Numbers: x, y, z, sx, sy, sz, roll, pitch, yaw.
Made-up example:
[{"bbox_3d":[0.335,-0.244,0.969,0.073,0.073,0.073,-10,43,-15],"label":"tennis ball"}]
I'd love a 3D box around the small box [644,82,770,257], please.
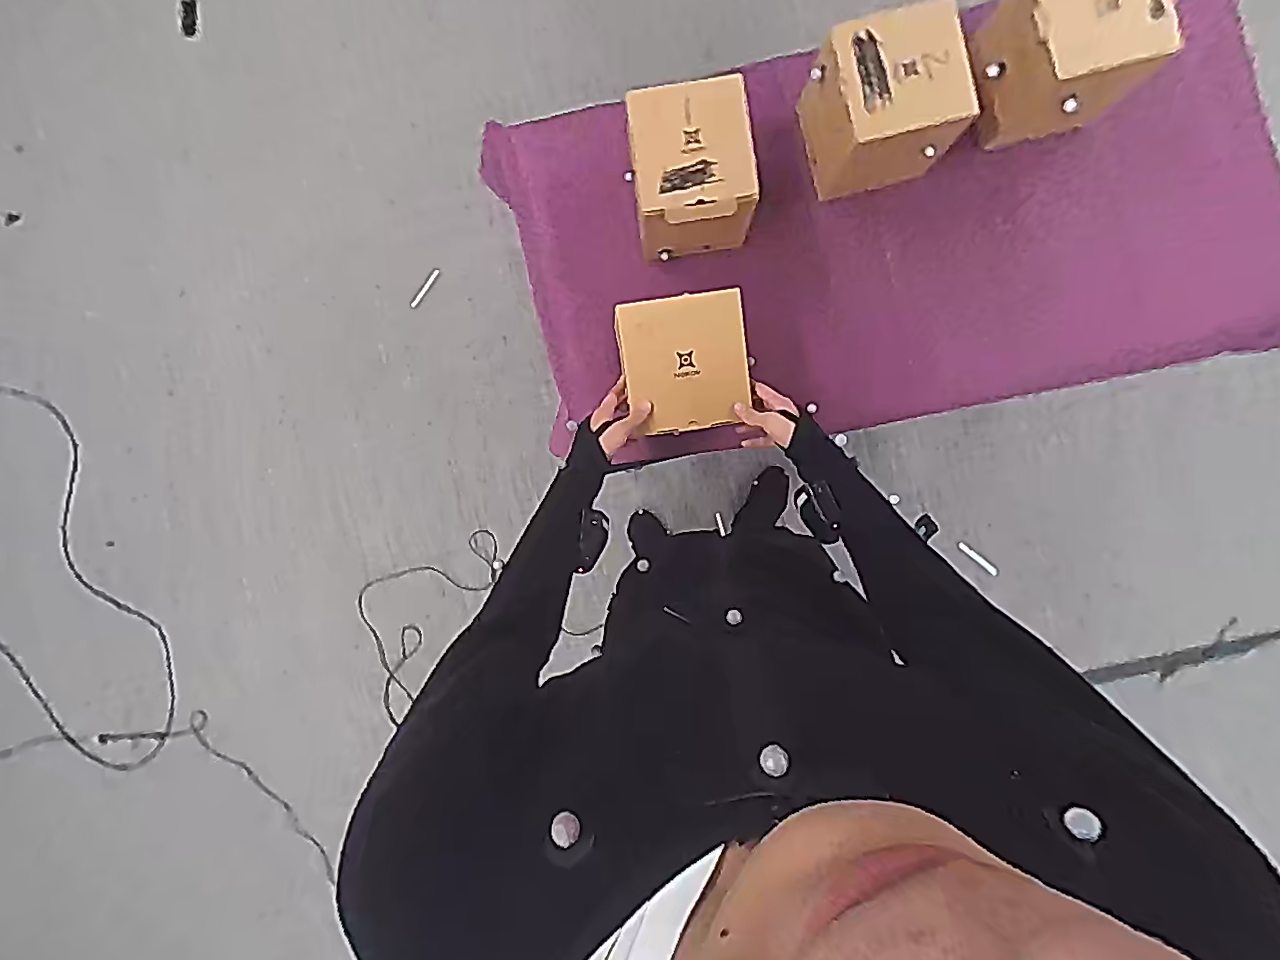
[{"bbox_3d":[0.097,-0.458,0.830,0.168,0.176,0.179,-5,89,2],"label":"small box"}]

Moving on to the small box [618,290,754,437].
[{"bbox_3d":[0.059,-0.162,0.787,0.168,0.176,0.179,-8,99,-1],"label":"small box"}]

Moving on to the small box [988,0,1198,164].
[{"bbox_3d":[0.657,-0.608,0.810,0.179,0.176,0.168,-11,92,3],"label":"small box"}]
